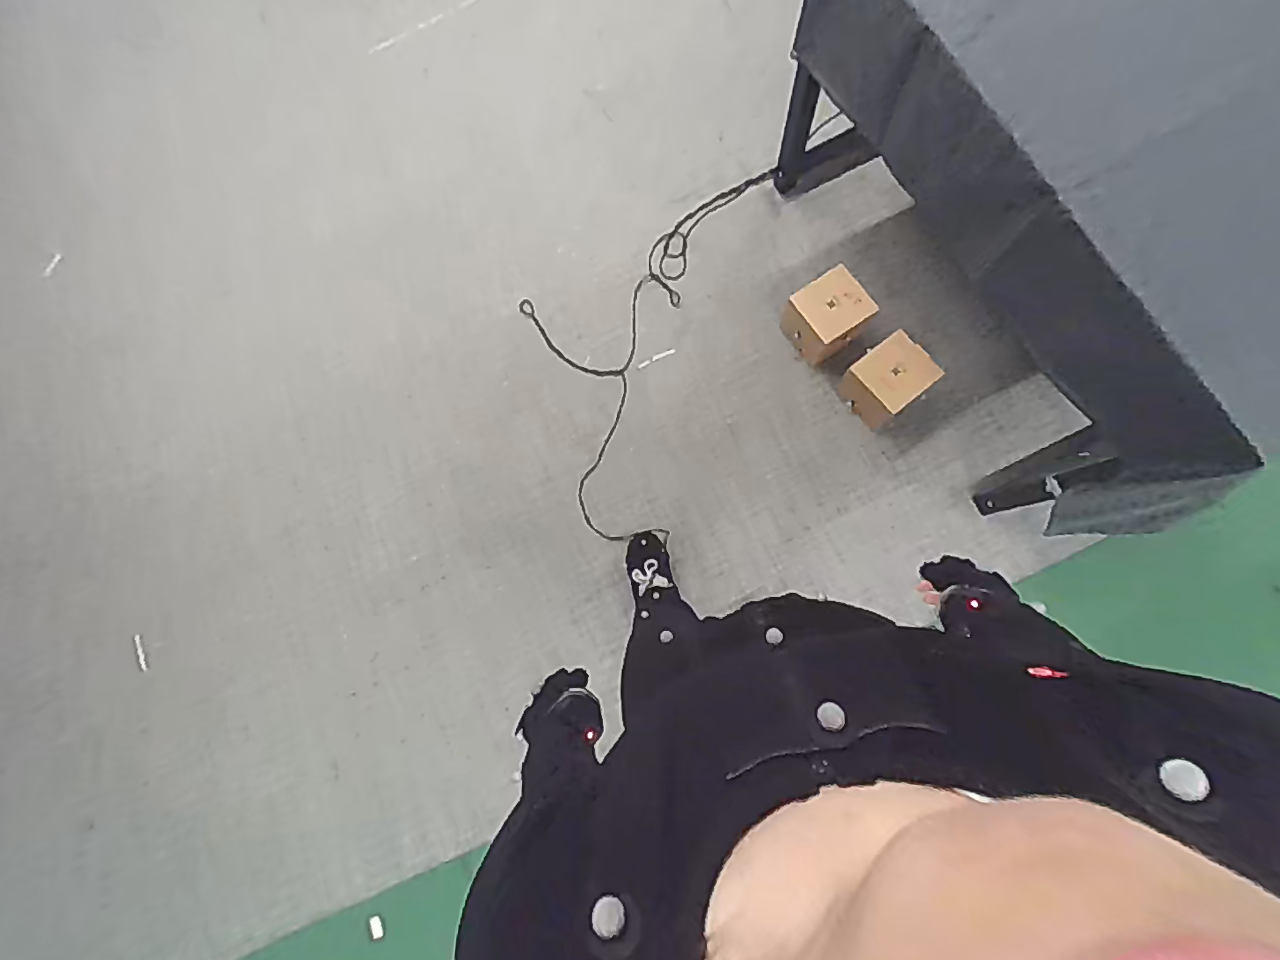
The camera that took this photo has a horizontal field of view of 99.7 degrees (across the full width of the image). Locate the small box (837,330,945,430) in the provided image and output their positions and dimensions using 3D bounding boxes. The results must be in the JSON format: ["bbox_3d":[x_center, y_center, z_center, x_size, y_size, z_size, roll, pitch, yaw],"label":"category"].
[{"bbox_3d":[0.663,-0.261,1.452,0.179,0.176,0.168,-38,79,-3],"label":"small box"}]
